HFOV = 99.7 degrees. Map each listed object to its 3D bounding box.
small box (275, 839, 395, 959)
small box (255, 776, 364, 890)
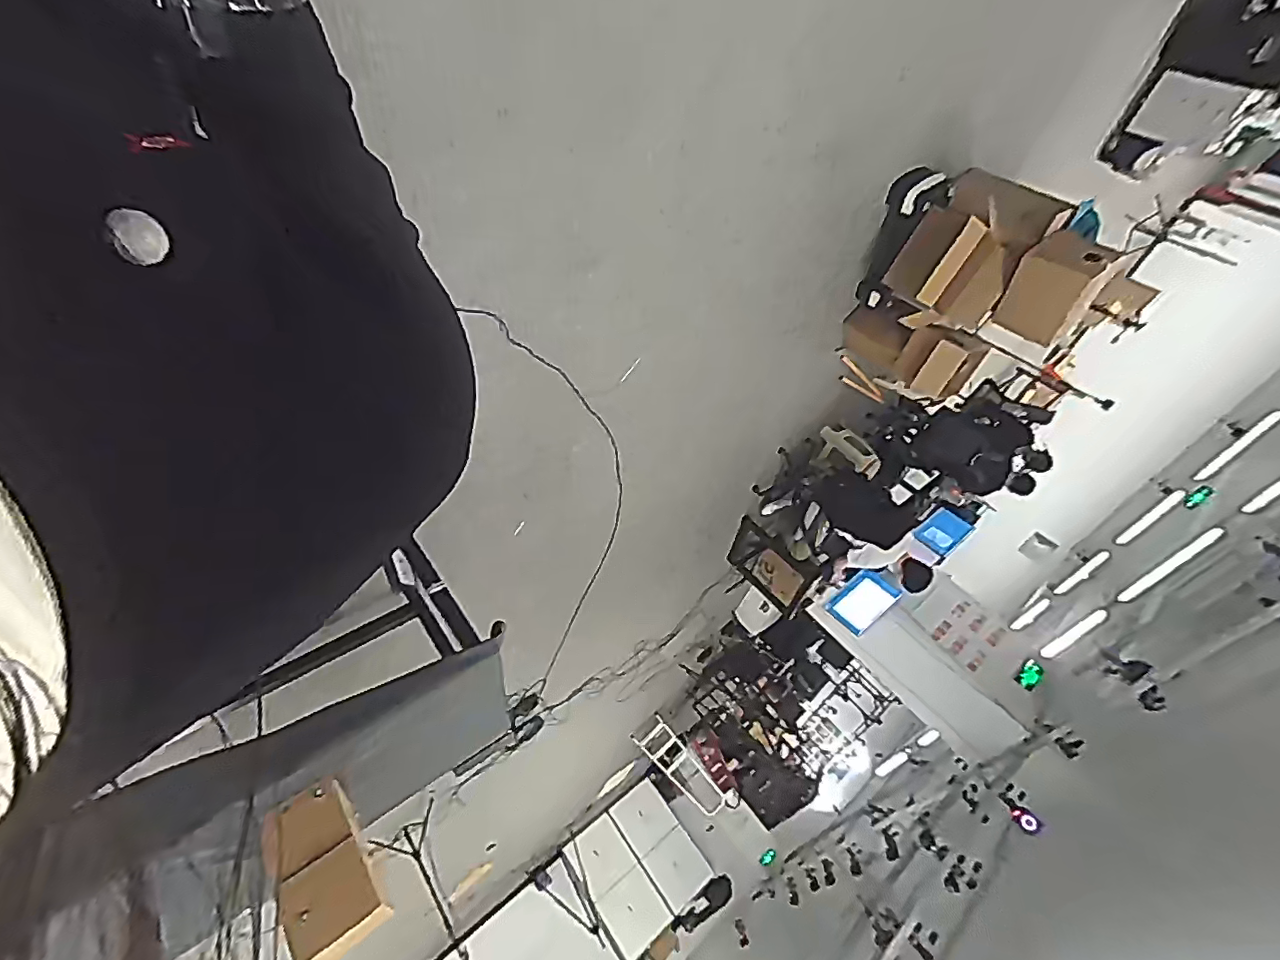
[{"bbox_3d":[-0.686,0.957,1.215,0.179,0.176,0.168,-29,148,-27],"label":"small box"},{"bbox_3d":[-0.800,0.860,1.314,0.168,0.176,0.179,-25,147,-33],"label":"small box"}]
